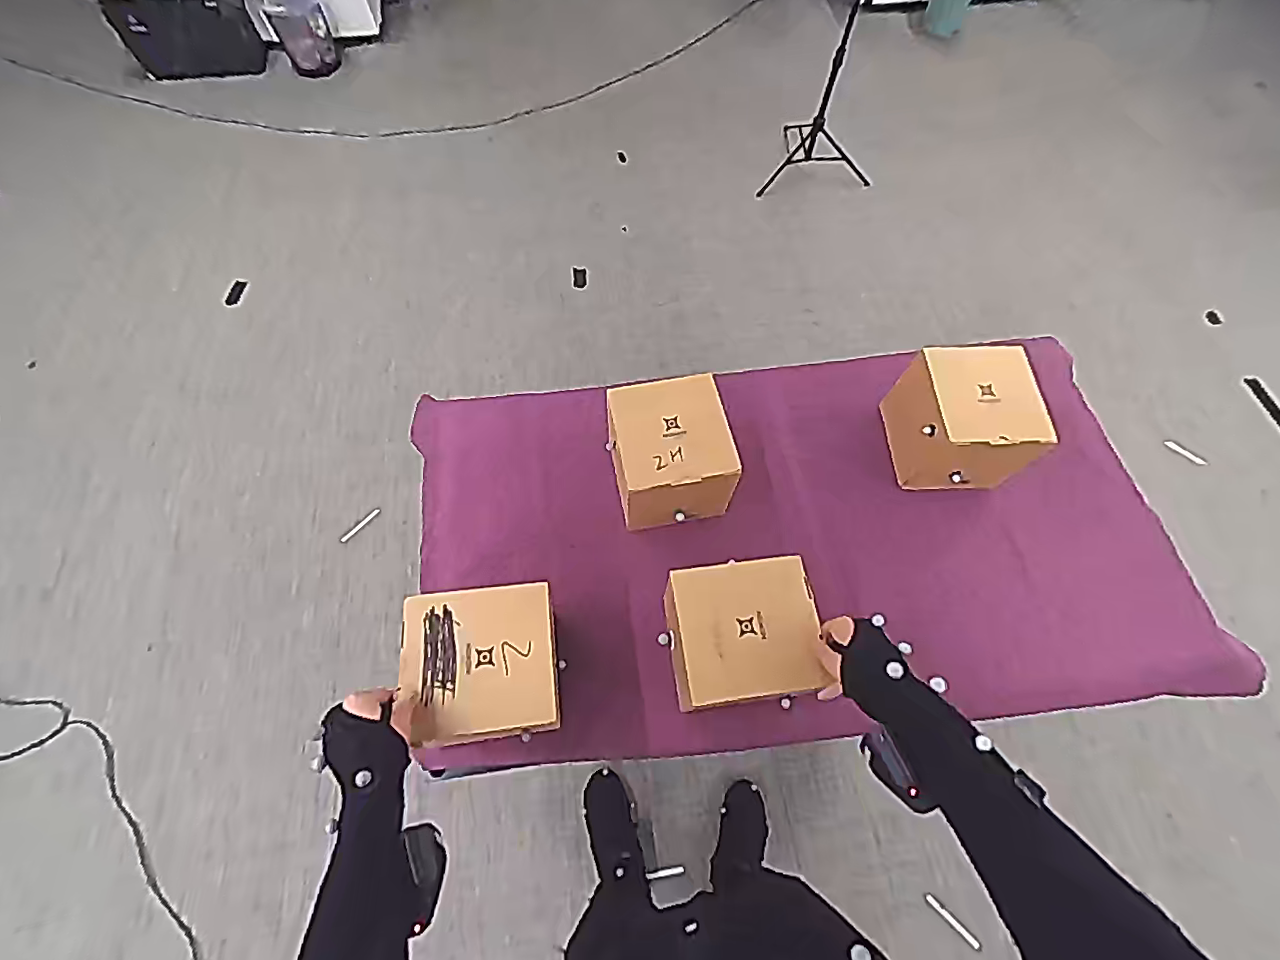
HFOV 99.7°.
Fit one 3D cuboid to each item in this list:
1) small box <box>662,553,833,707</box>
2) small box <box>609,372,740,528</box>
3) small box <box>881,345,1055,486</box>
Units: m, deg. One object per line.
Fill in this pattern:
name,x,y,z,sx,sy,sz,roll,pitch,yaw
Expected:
small box,0.132,0.210,0.740,0.179,0.176,0.168,-6,64,-5
small box,0.044,-0.043,0.862,0.168,0.176,0.179,-10,65,-6
small box,0.526,-0.103,0.900,0.168,0.176,0.179,-2,66,-1
